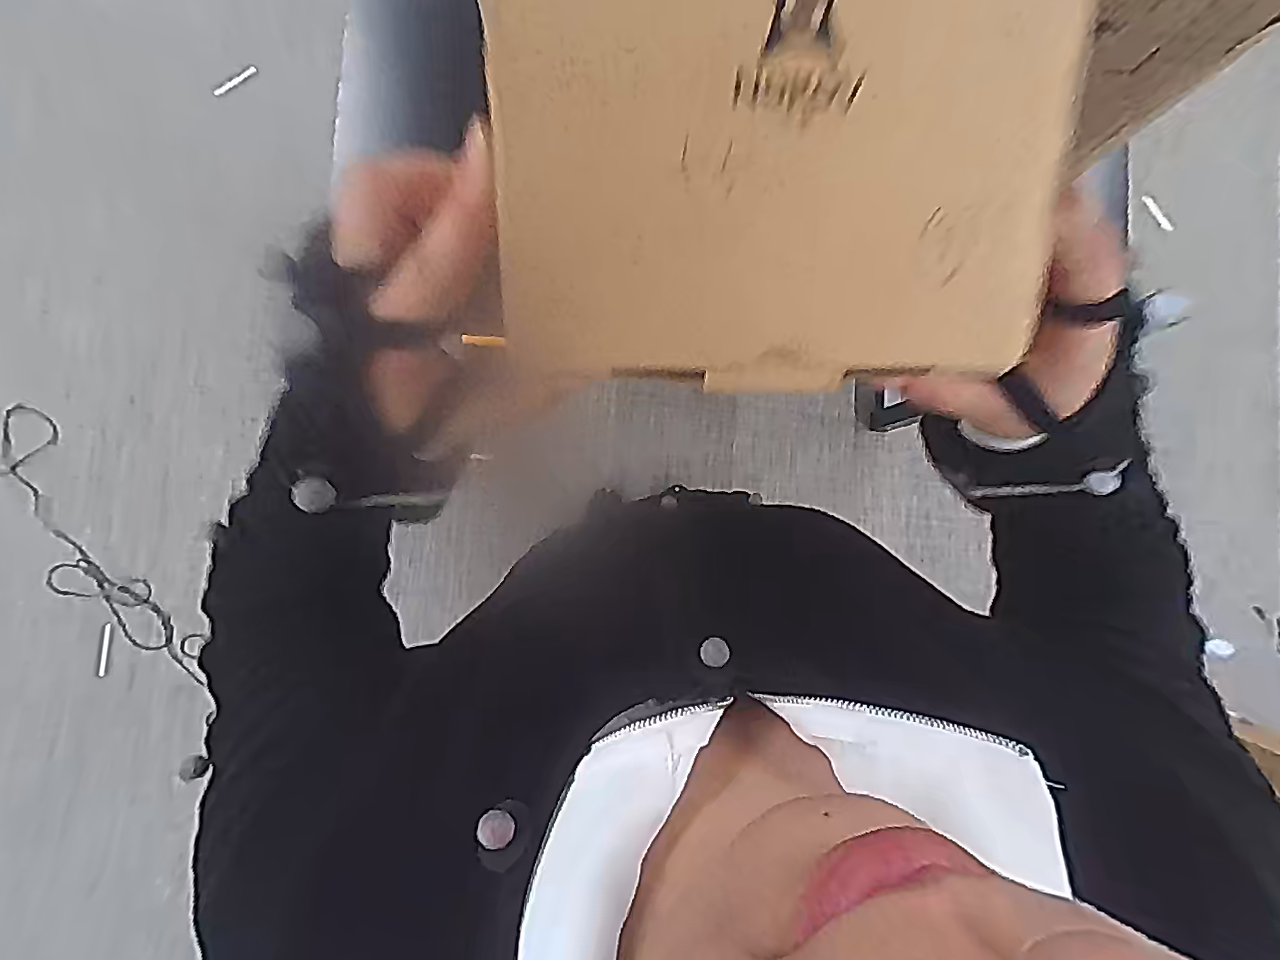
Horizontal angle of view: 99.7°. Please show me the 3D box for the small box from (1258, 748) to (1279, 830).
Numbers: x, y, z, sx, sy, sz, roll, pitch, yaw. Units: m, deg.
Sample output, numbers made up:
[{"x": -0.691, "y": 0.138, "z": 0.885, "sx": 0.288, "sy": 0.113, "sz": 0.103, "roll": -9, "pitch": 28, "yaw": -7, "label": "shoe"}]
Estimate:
[{"x": 1.459, "y": 0.676, "z": 1.116, "sx": 0.179, "sy": 0.176, "sz": 0.168, "roll": 6, "pitch": 87, "yaw": -1, "label": "small box"}]

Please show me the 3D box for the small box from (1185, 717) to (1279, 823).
[{"x": 1.452, "y": 0.681, "z": 1.280, "sx": 0.168, "sy": 0.176, "sz": 0.179, "roll": 3, "pitch": 87, "yaw": -1, "label": "small box"}]

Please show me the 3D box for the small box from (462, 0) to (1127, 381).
[{"x": 0.032, "y": -0.138, "z": 0.206, "sx": 0.168, "sy": 0.176, "sz": 0.179, "roll": -2, "pitch": 108, "yaw": -6, "label": "small box"}]
